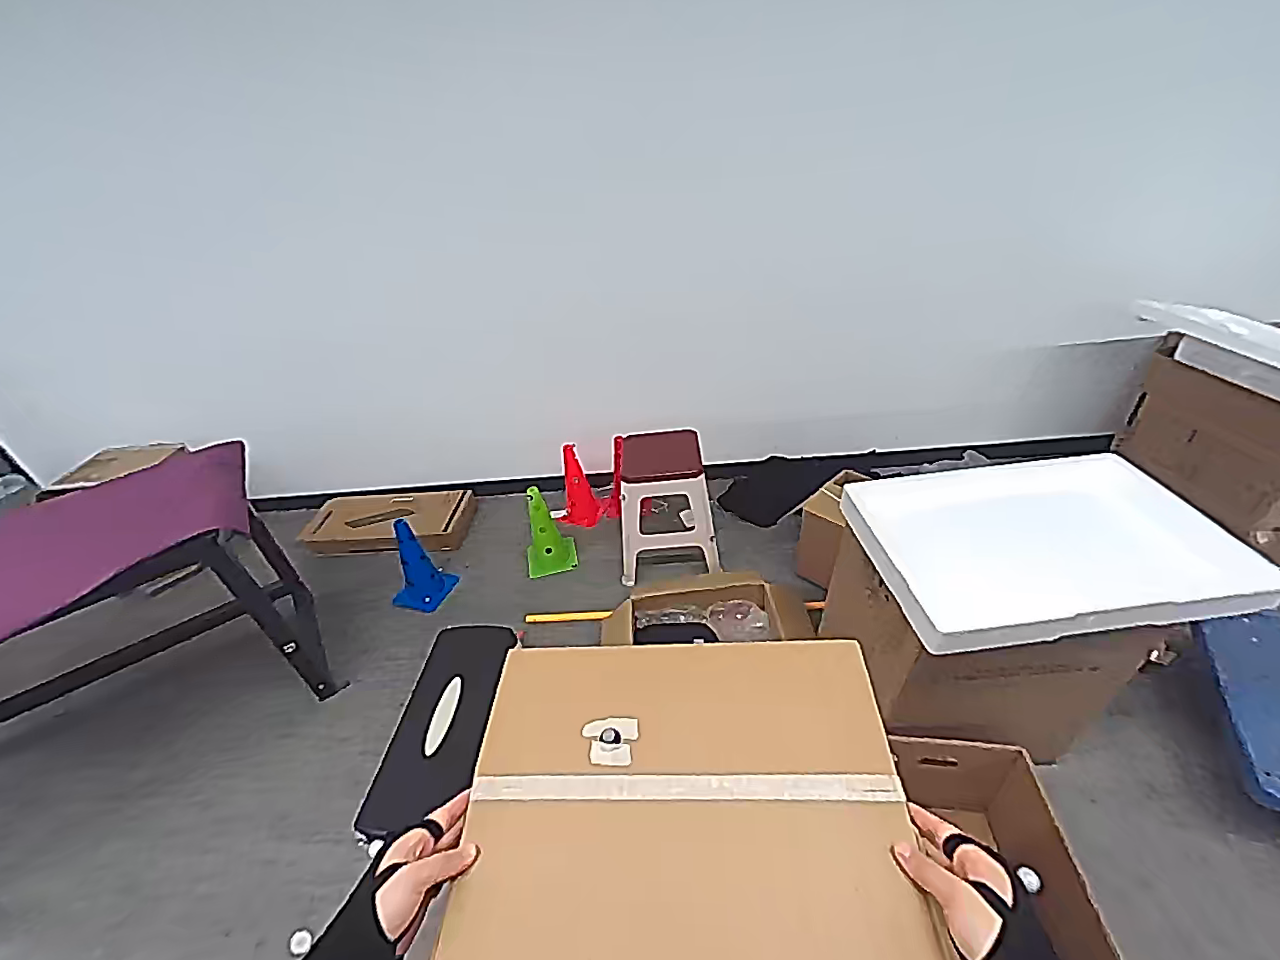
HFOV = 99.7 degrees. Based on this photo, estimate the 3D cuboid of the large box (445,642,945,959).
[{"bbox_3d":[0.060,0.414,0.615,0.408,0.320,0.320,-5,39,7],"label":"large box"}]
